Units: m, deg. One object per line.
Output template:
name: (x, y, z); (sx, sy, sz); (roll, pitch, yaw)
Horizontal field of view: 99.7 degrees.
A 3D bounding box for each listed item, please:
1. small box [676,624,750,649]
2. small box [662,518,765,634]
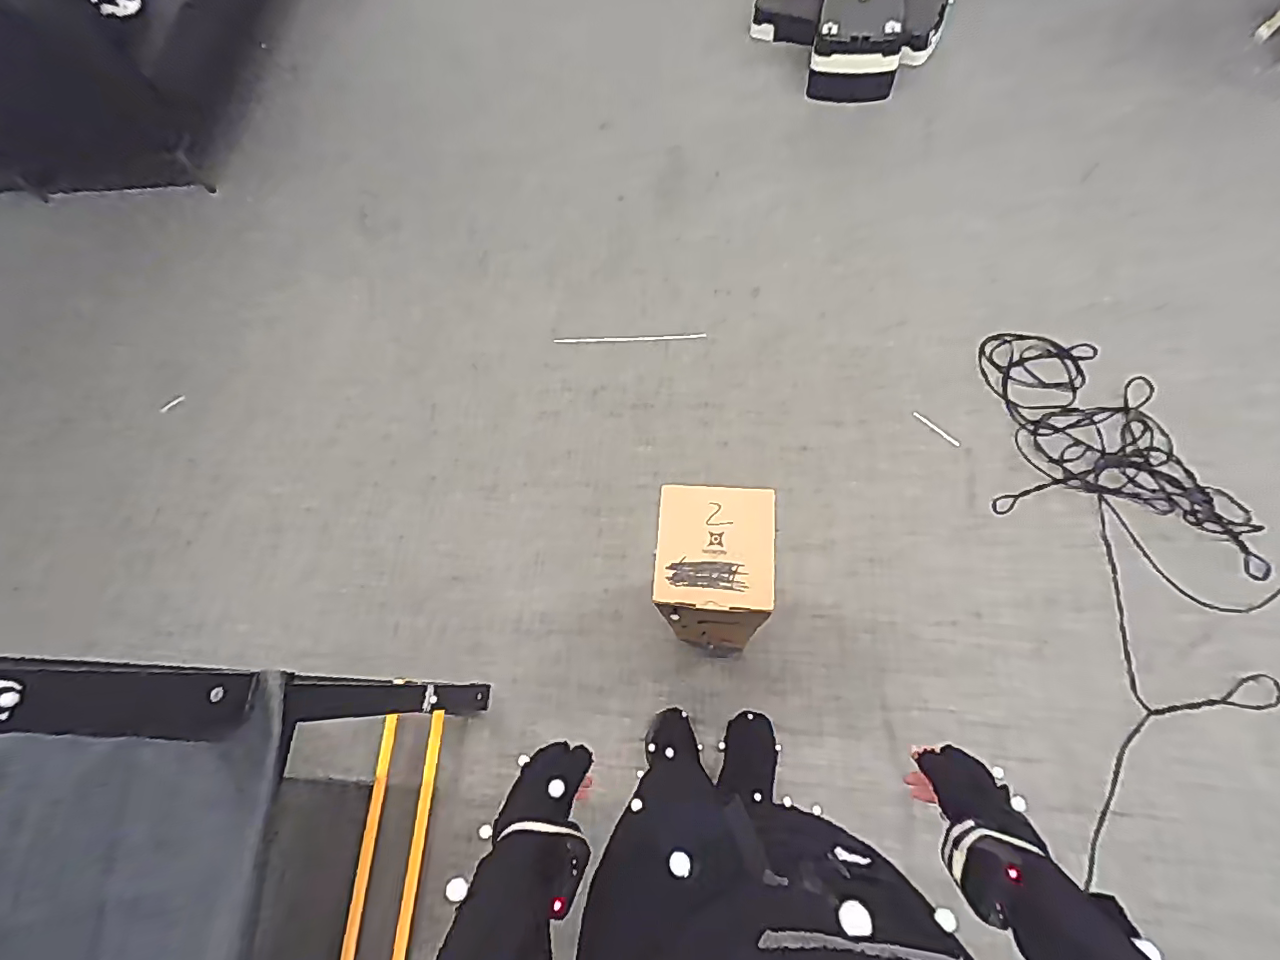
small box: (0.183, 0.298, 1.292); (0.168, 0.176, 0.179); (6, 70, 11)
small box: (0.137, 0.182, 0.991); (0.168, 0.176, 0.179); (4, 69, 9)
